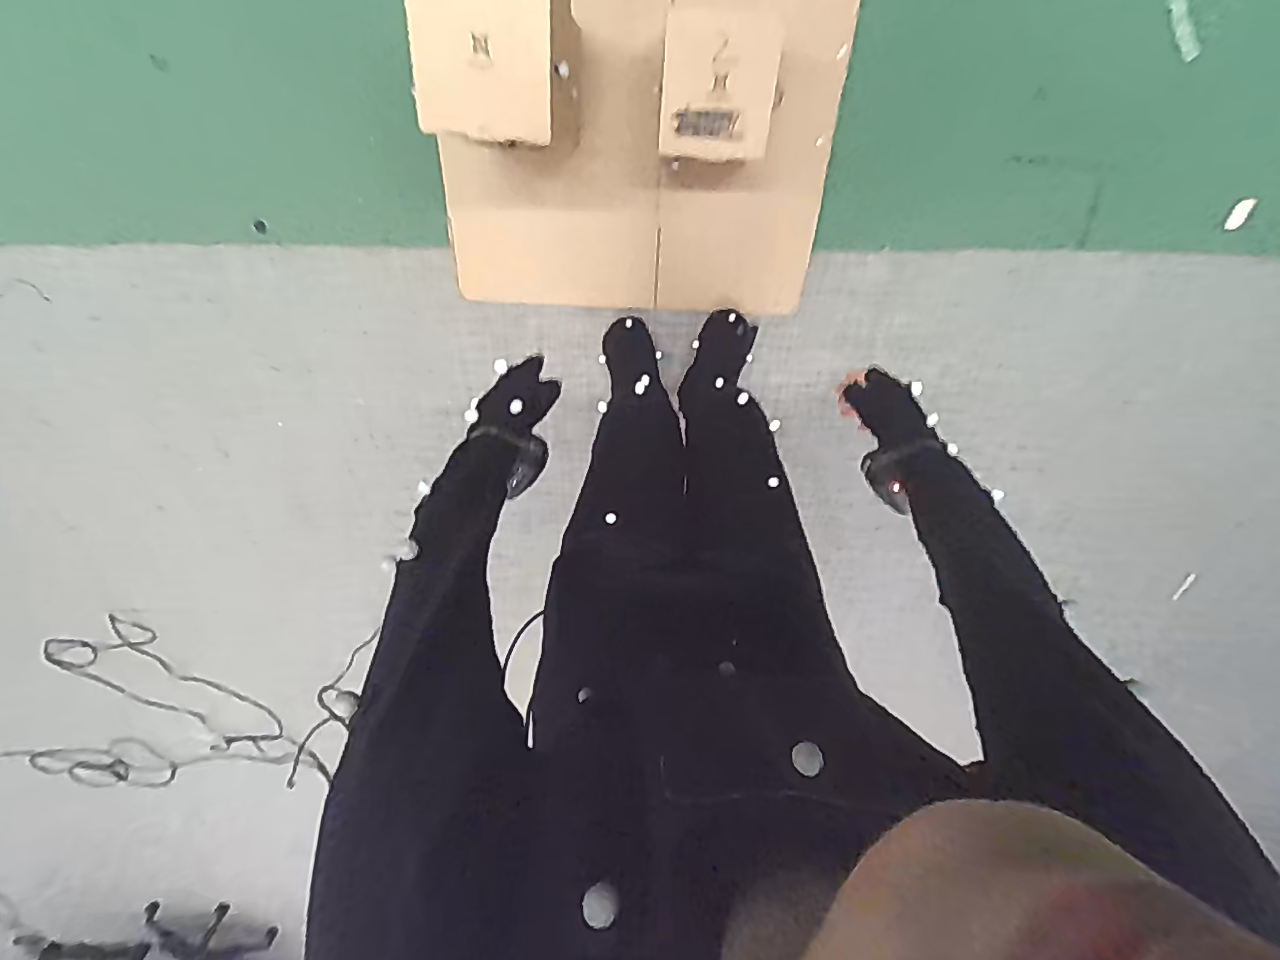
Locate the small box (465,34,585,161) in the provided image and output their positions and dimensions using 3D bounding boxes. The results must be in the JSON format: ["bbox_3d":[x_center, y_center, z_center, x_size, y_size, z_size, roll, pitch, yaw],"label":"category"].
[{"bbox_3d":[-0.178,-0.611,0.853,0.168,0.176,0.179,4,120,0],"label":"small box"}]

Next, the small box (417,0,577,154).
[{"bbox_3d":[-0.176,-0.537,0.708,0.168,0.176,0.179,5,121,-1],"label":"small box"}]
